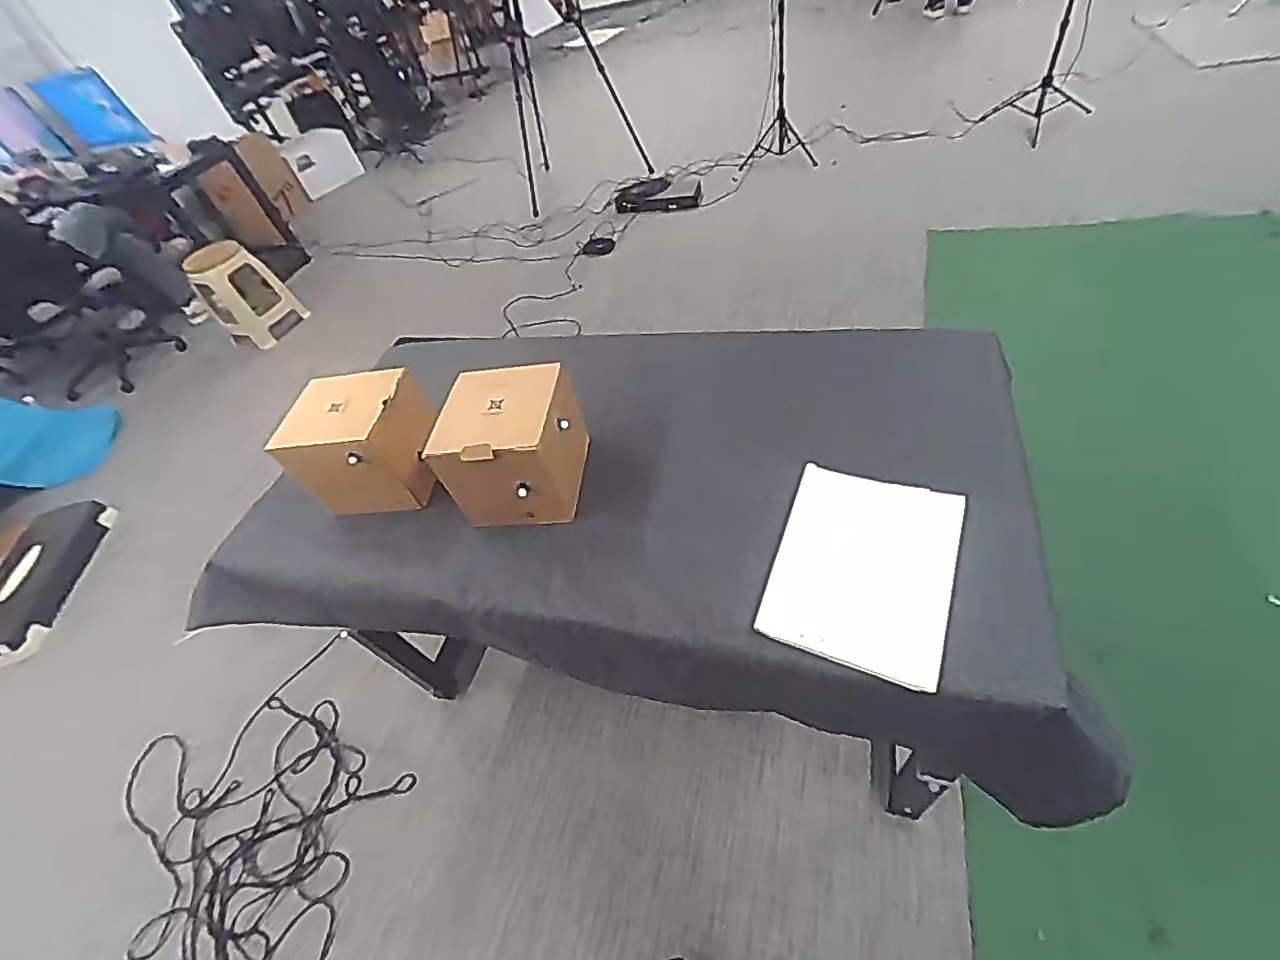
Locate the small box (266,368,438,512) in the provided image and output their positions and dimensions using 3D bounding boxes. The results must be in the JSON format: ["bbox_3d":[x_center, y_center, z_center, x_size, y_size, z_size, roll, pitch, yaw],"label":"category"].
[{"bbox_3d":[-0.448,-0.060,0.891,0.179,0.176,0.168,-5,48,9],"label":"small box"}]

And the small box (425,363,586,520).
[{"bbox_3d":[-0.187,-0.050,0.815,0.168,0.176,0.179,-3,48,10],"label":"small box"}]
